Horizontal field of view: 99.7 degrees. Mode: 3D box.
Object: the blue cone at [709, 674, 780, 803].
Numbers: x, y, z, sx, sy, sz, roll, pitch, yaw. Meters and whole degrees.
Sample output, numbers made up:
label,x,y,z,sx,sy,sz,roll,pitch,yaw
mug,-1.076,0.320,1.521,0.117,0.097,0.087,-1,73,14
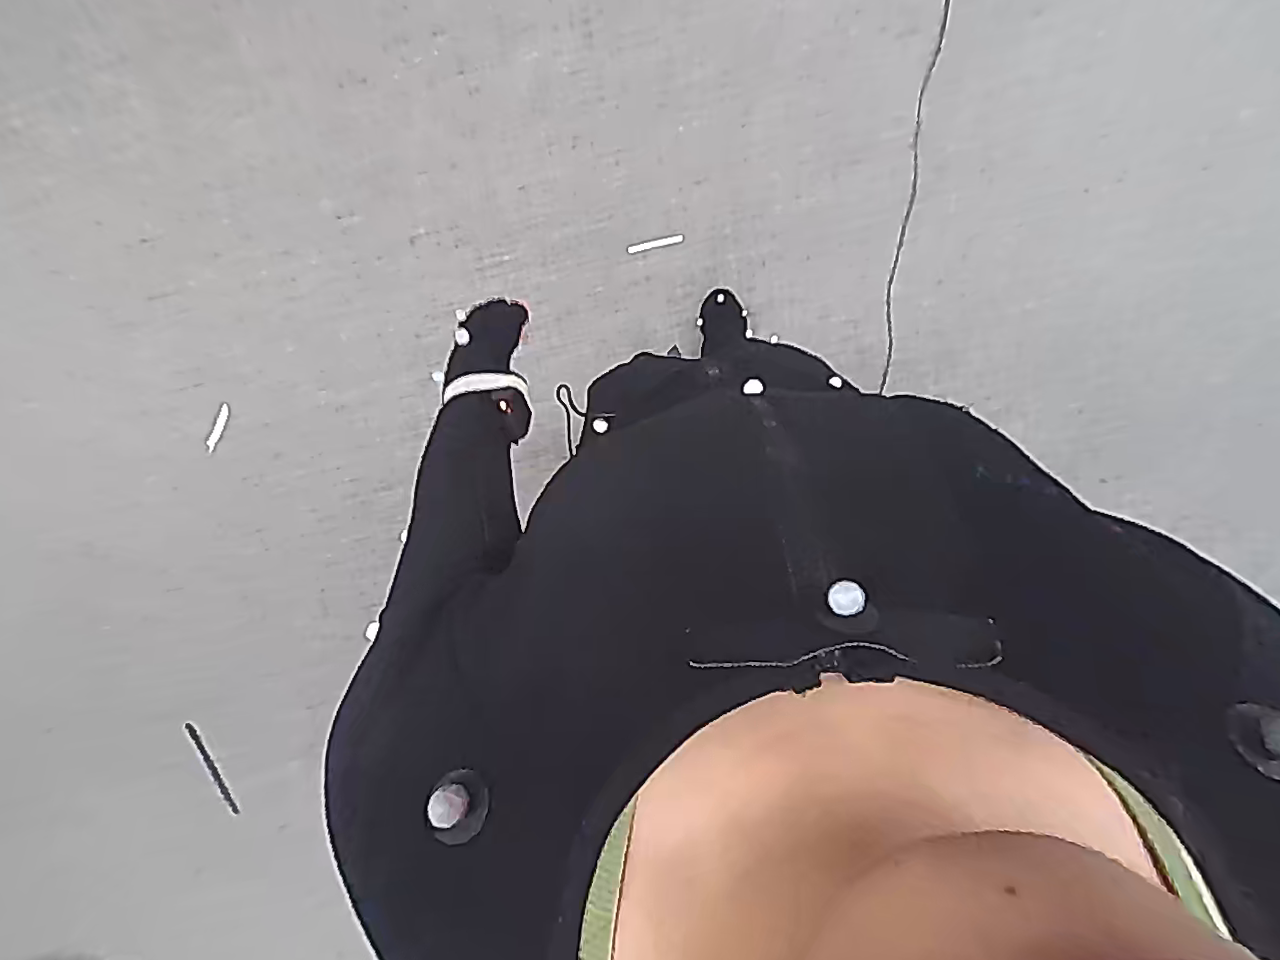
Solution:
label,x,y,z,sx,sy,sz,roll,pitch,yaw
blue cone,0.307,0.737,1.505,0.192,0.380,0.193,-16,103,8
